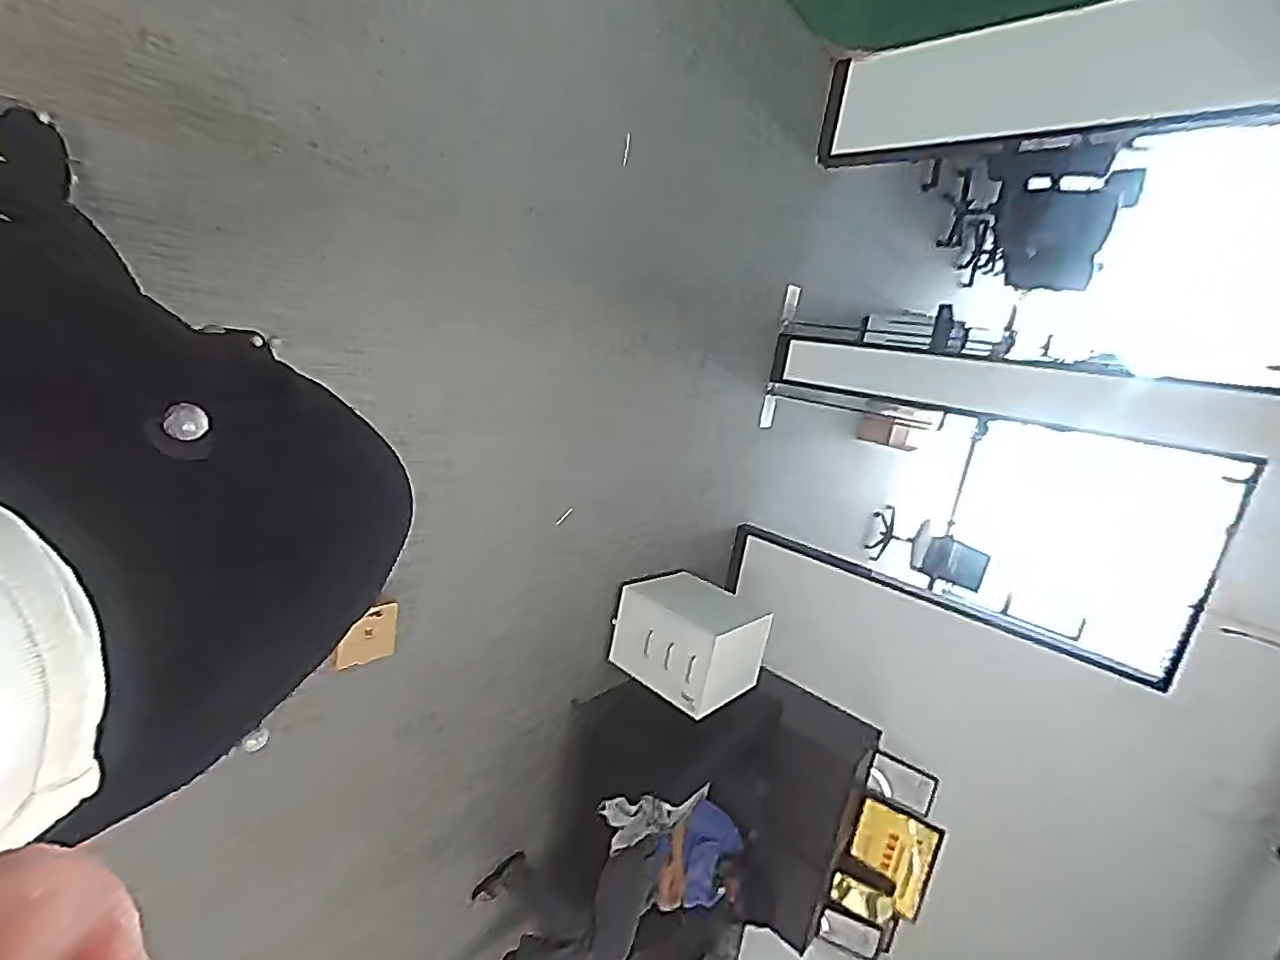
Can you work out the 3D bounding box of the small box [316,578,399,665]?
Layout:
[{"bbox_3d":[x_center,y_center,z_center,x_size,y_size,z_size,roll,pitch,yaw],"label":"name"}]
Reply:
[{"bbox_3d":[-0.847,0.417,1.614,0.168,0.176,0.179,-4,109,-50],"label":"small box"}]
